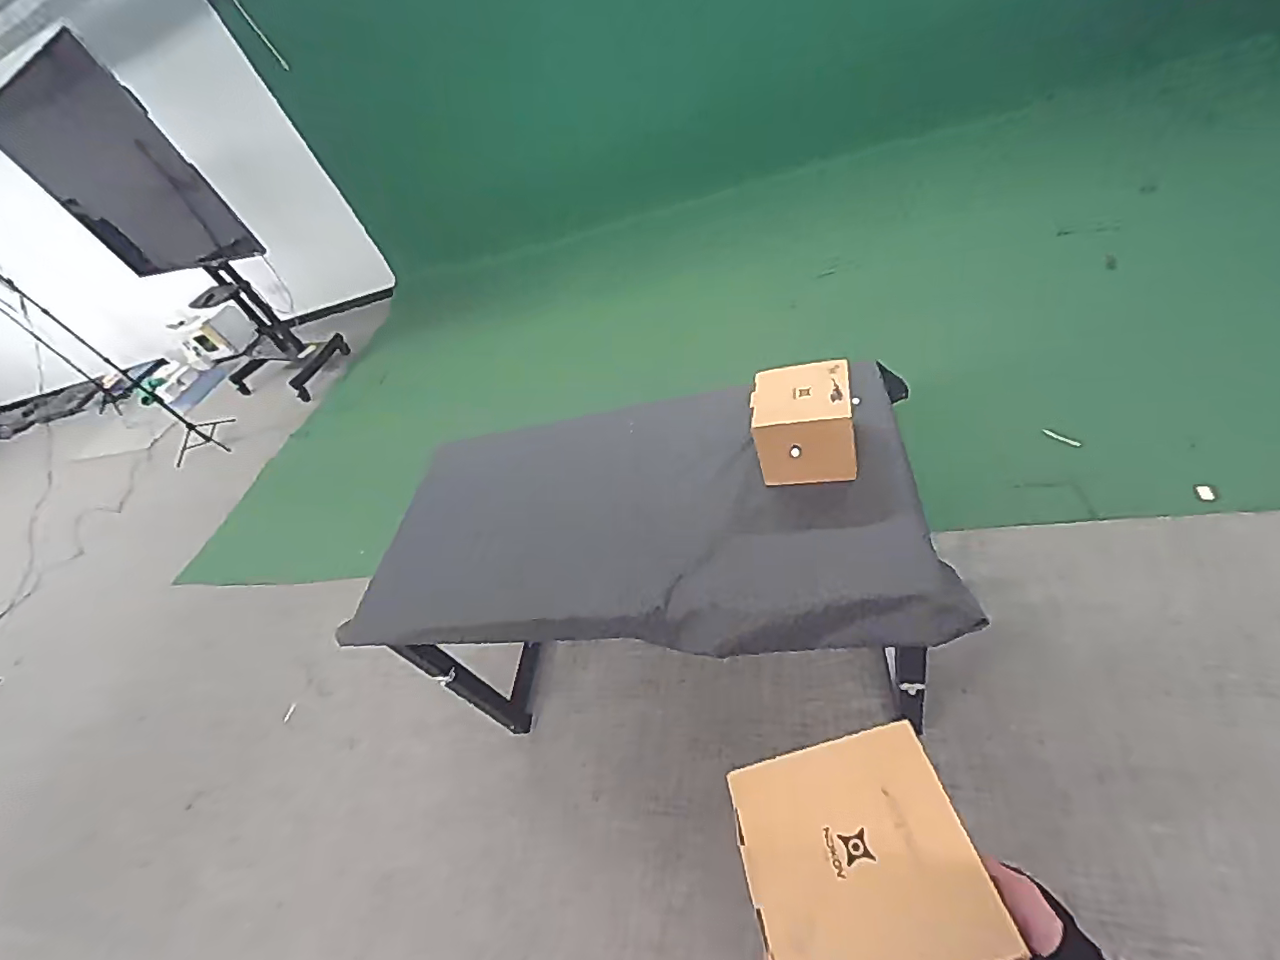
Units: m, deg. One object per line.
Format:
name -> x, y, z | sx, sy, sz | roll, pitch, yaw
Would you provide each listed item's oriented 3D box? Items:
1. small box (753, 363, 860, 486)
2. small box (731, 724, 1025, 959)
small box -> 0.331, -0.102, 1.065 | 0.179, 0.176, 0.168 | -5, 48, 23
small box -> 0.202, 0.354, 0.484 | 0.179, 0.176, 0.168 | -21, 39, 8
